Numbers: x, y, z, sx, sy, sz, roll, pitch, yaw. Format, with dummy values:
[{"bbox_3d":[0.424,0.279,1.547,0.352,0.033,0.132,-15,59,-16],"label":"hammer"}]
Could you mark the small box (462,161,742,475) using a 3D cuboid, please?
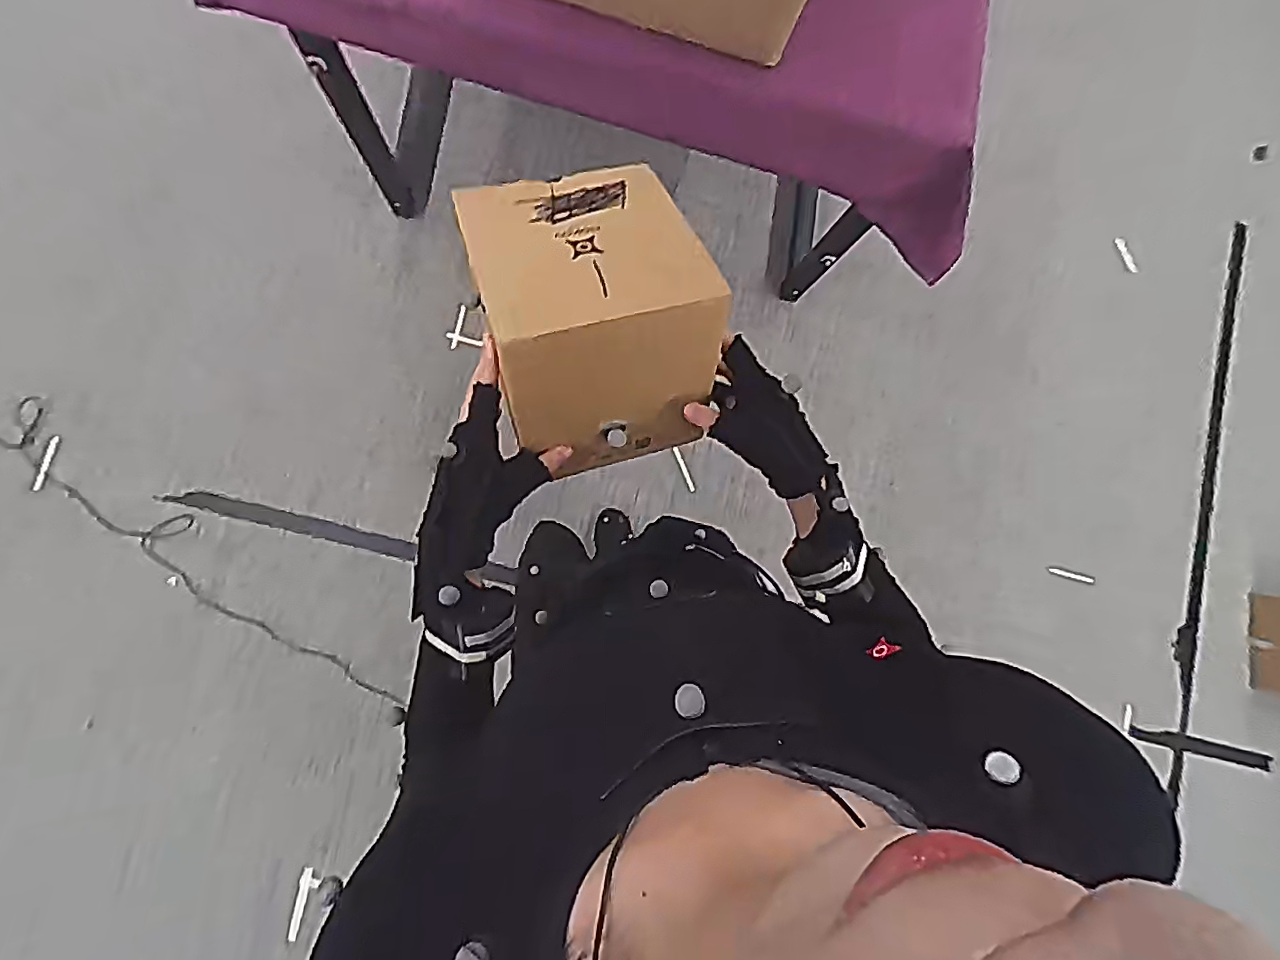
[{"bbox_3d":[-0.037,-0.133,0.454,0.168,0.176,0.179,-16,58,-12],"label":"small box"}]
